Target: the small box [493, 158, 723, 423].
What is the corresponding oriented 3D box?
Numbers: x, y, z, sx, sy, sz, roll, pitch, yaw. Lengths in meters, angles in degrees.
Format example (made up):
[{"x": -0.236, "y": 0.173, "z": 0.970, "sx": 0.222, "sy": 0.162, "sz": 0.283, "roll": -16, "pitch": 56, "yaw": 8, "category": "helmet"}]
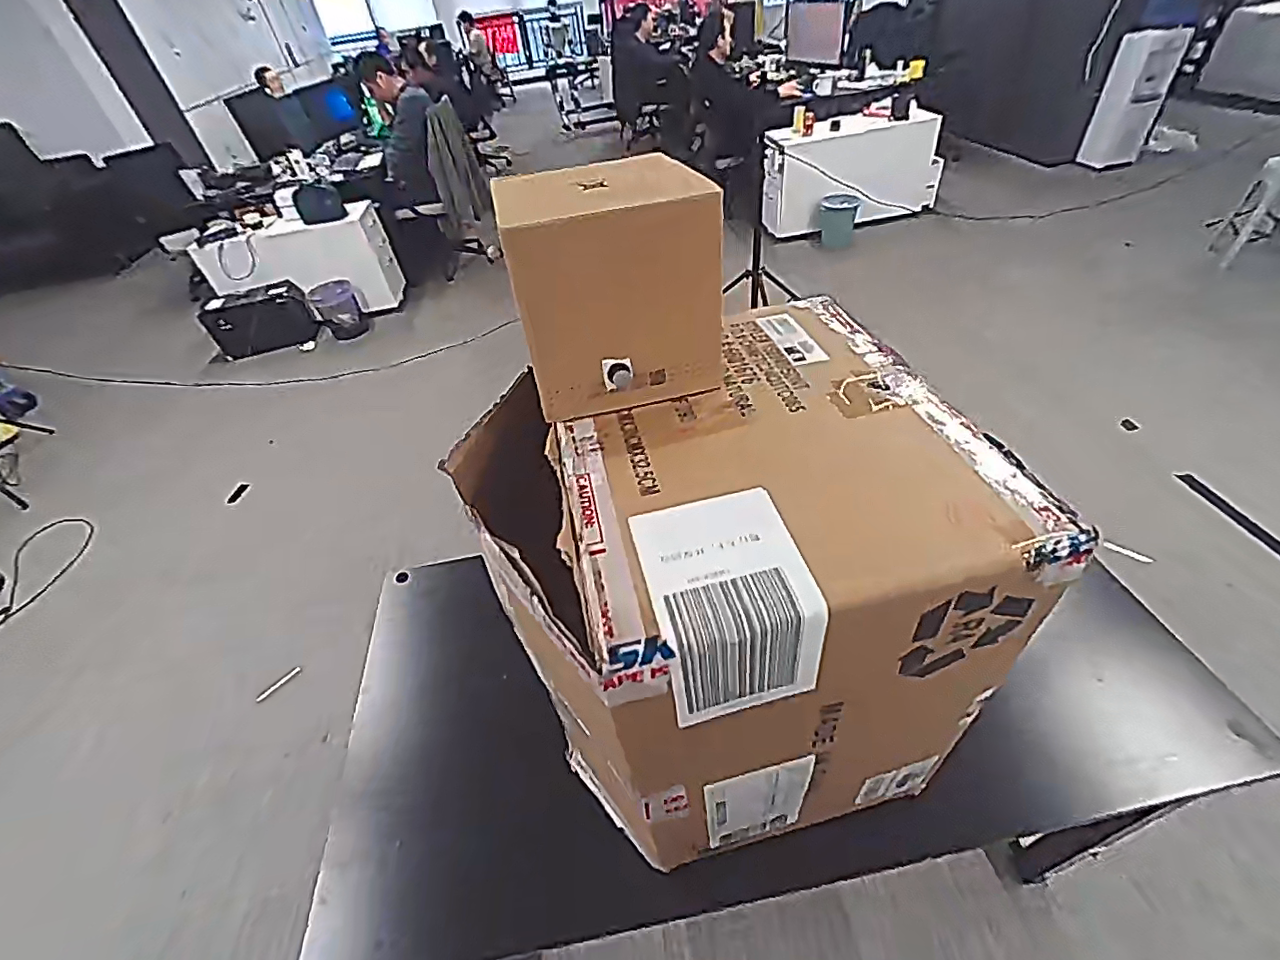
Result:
[{"x": -0.031, "y": -0.177, "z": 0.498, "sx": 0.168, "sy": 0.176, "sz": 0.179, "roll": -14, "pitch": 41, "yaw": -7, "category": "small box"}]
